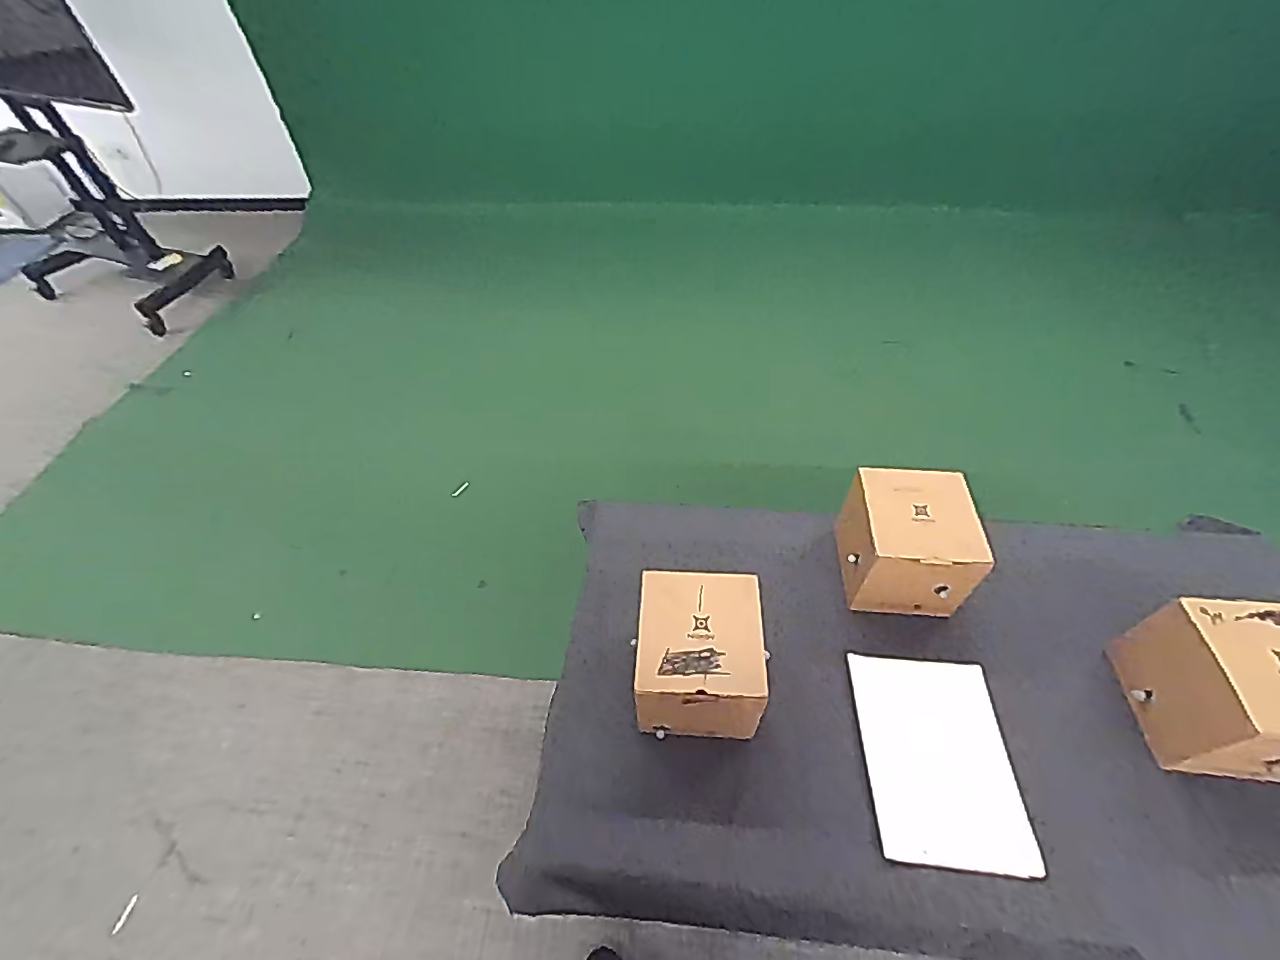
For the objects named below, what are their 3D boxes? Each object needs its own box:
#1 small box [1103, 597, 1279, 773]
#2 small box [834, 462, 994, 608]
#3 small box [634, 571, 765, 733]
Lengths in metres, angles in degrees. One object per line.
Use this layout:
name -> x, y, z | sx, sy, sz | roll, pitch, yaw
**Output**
small box -> 0.787, 0.278, 0.724 | 0.168, 0.176, 0.179 | 3, 51, 5
small box -> 0.428, 0.092, 0.878 | 0.168, 0.176, 0.179 | 3, 50, 4
small box -> 0.082, 0.251, 0.780 | 0.168, 0.176, 0.179 | 2, 50, 3
